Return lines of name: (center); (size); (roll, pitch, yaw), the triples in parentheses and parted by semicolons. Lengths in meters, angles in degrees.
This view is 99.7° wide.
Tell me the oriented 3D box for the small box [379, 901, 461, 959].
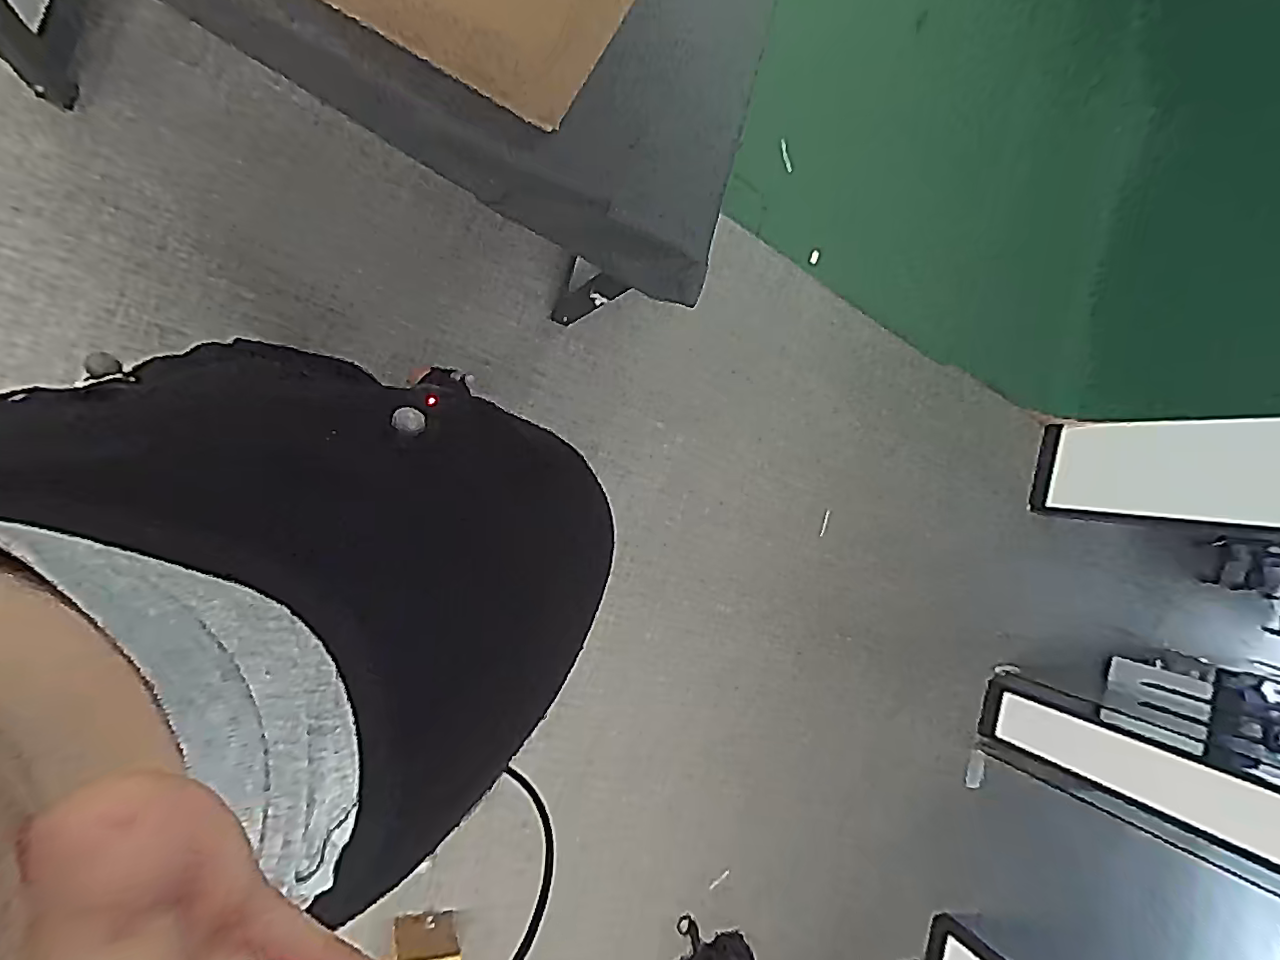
small box: (-0.602, 1.298, 1.467); (0.168, 0.176, 0.179); (15, 85, -30)
